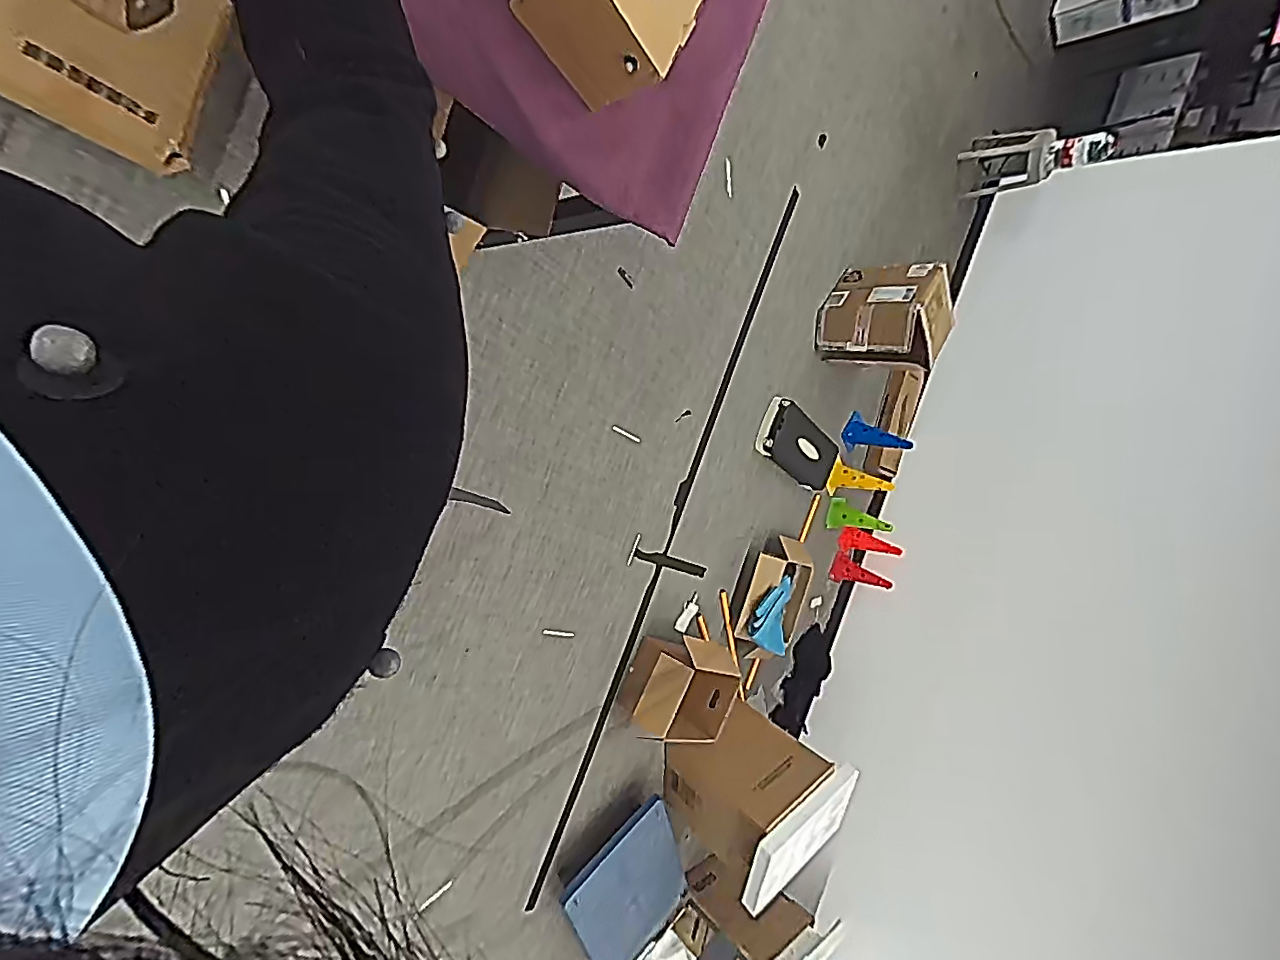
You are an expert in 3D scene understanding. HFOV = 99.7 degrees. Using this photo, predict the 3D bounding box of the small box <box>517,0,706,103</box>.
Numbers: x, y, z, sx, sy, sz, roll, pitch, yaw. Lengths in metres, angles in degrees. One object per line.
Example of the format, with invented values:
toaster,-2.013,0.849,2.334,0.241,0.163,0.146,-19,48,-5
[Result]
small box,-0.038,-0.669,0.745,0.179,0.176,0.168,31,81,-46
